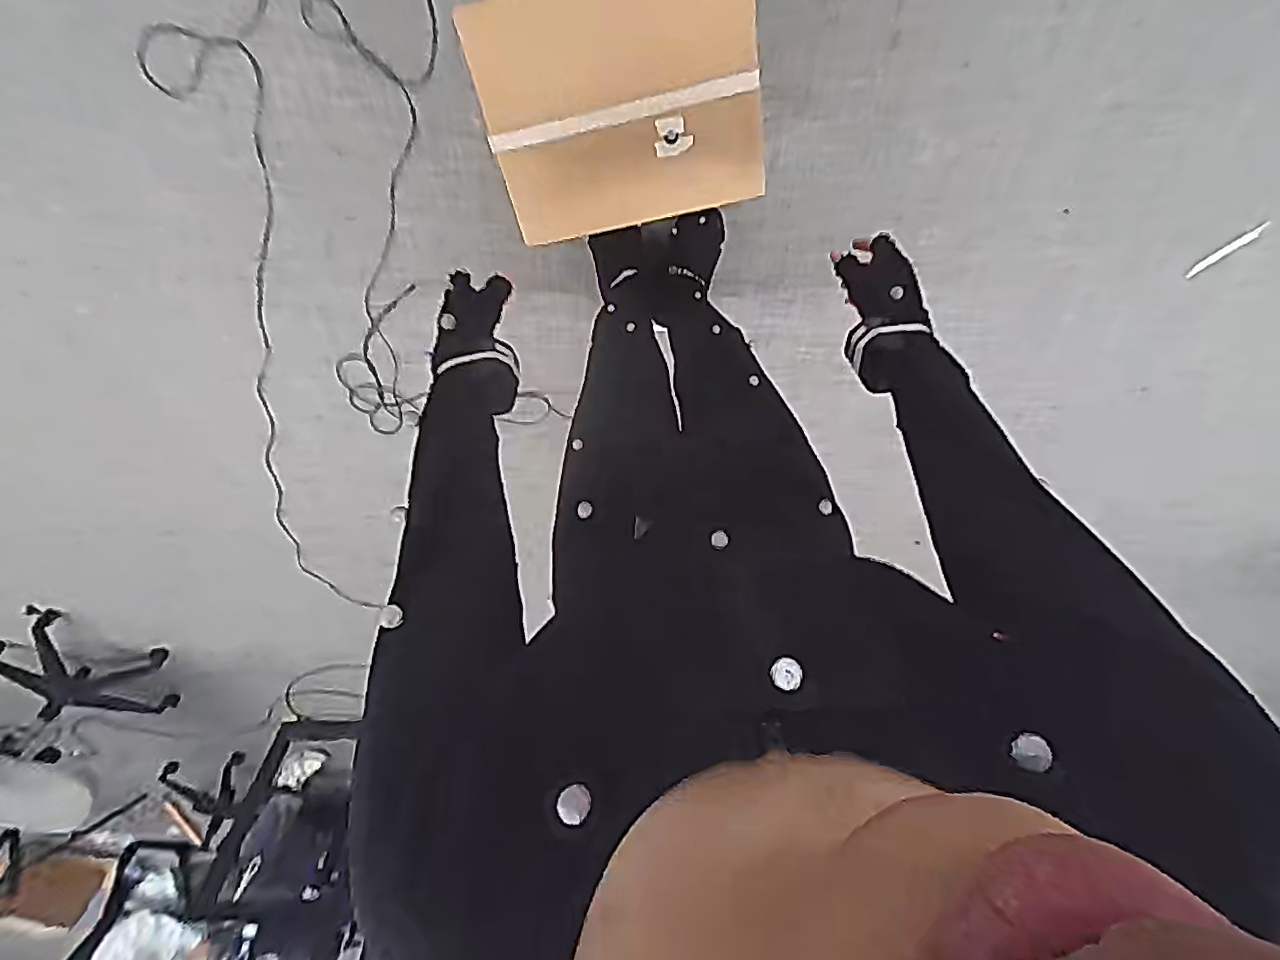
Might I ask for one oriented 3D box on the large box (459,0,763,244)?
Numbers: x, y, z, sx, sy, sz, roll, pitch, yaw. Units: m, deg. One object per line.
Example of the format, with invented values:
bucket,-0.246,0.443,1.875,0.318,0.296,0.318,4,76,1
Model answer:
large box,-0.031,-0.641,0.921,0.408,0.320,0.320,-10,128,6
